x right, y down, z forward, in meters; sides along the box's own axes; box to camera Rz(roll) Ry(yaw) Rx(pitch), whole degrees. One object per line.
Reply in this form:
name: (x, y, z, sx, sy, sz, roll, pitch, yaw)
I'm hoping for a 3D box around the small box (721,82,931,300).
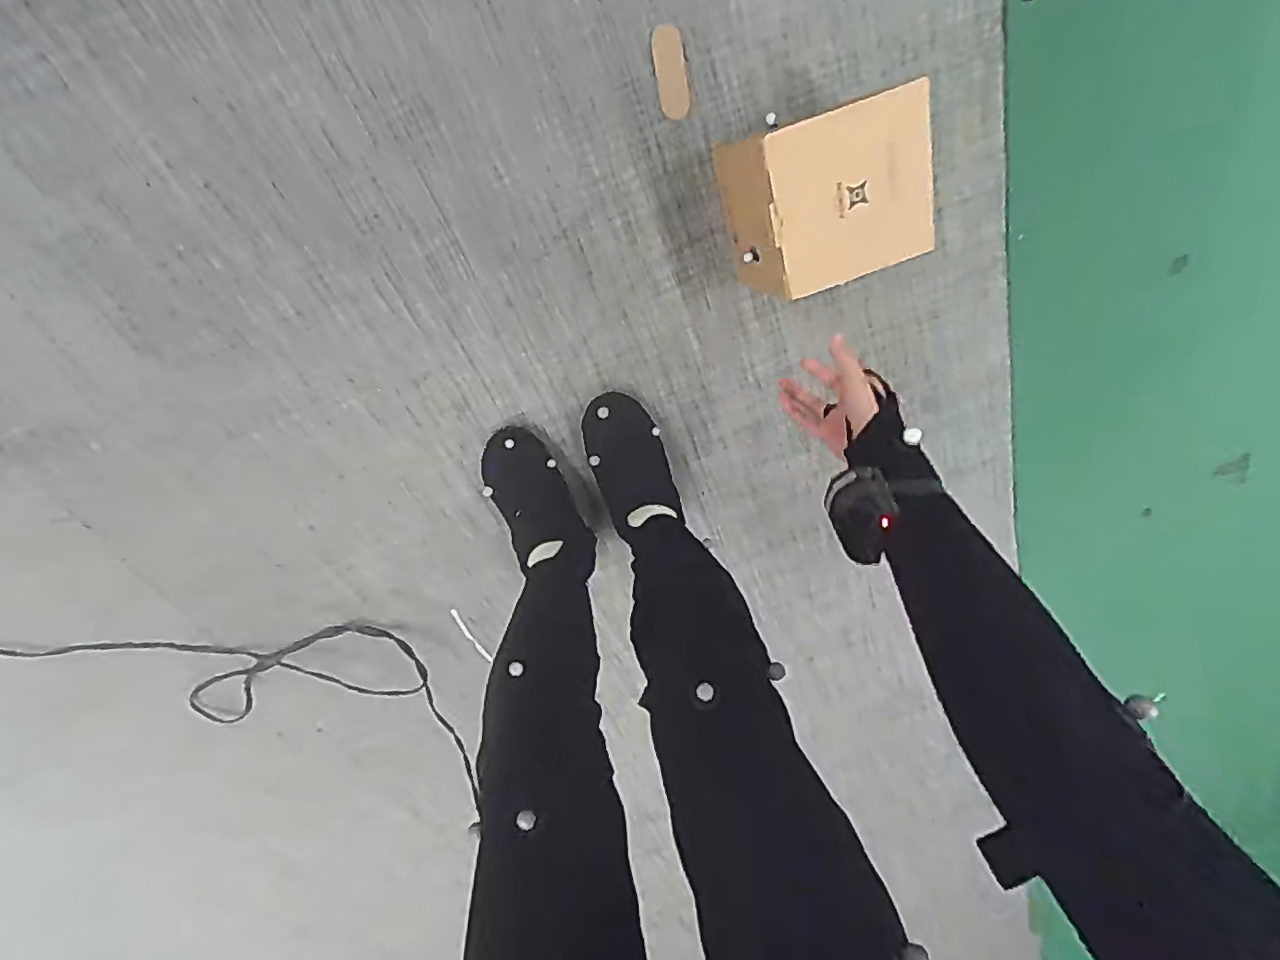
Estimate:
small box: (0.205, -0.327, 0.630, 0.179, 0.176, 0.168, -20, 119, -1)
